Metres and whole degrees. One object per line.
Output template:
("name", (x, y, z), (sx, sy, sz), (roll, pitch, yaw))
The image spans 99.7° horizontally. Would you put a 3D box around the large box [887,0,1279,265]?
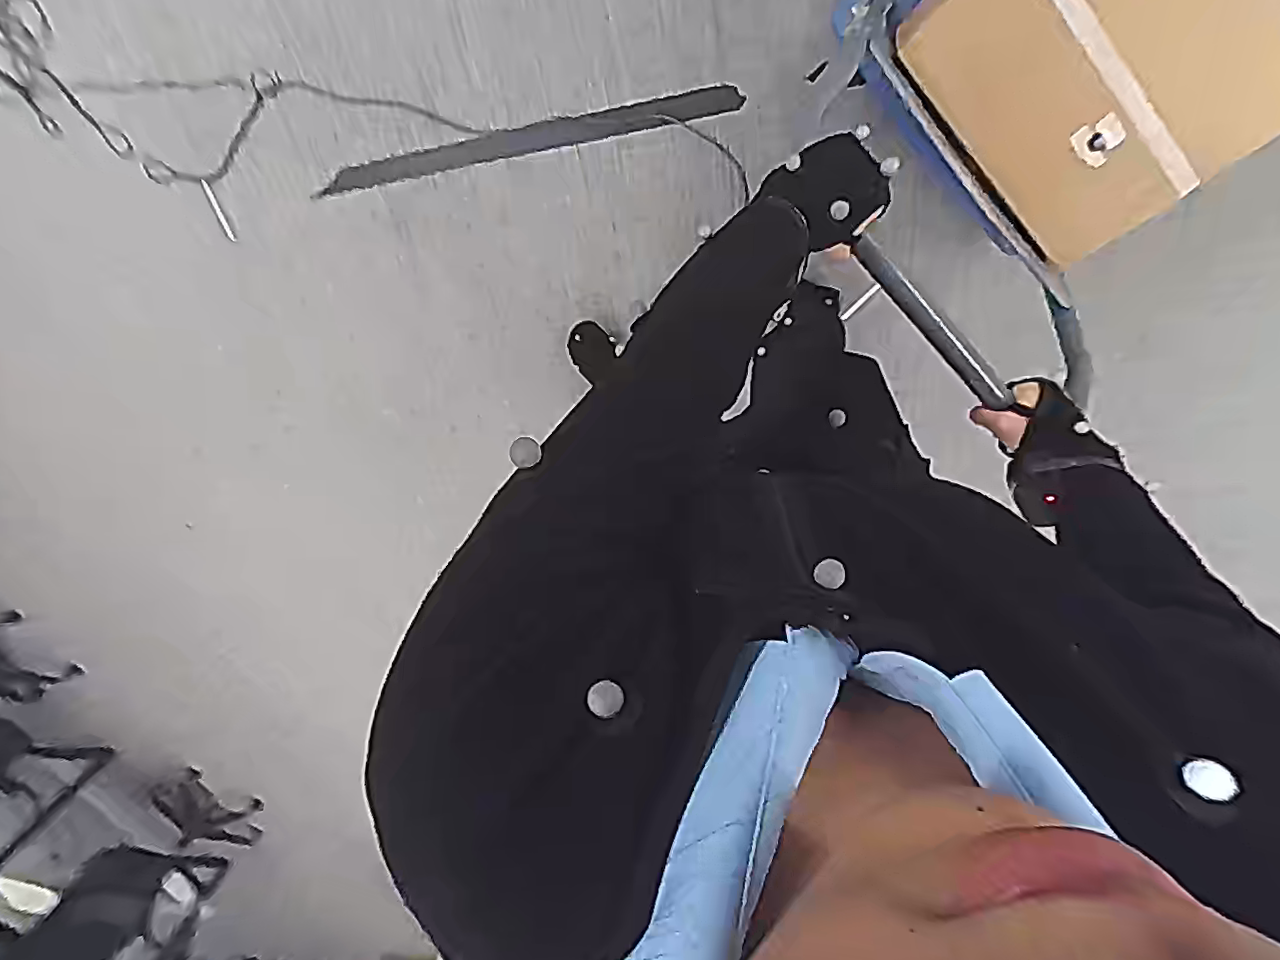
("large box", (0.618, -0.611, 0.780), (0.408, 0.320, 0.320), (39, 135, -15))
